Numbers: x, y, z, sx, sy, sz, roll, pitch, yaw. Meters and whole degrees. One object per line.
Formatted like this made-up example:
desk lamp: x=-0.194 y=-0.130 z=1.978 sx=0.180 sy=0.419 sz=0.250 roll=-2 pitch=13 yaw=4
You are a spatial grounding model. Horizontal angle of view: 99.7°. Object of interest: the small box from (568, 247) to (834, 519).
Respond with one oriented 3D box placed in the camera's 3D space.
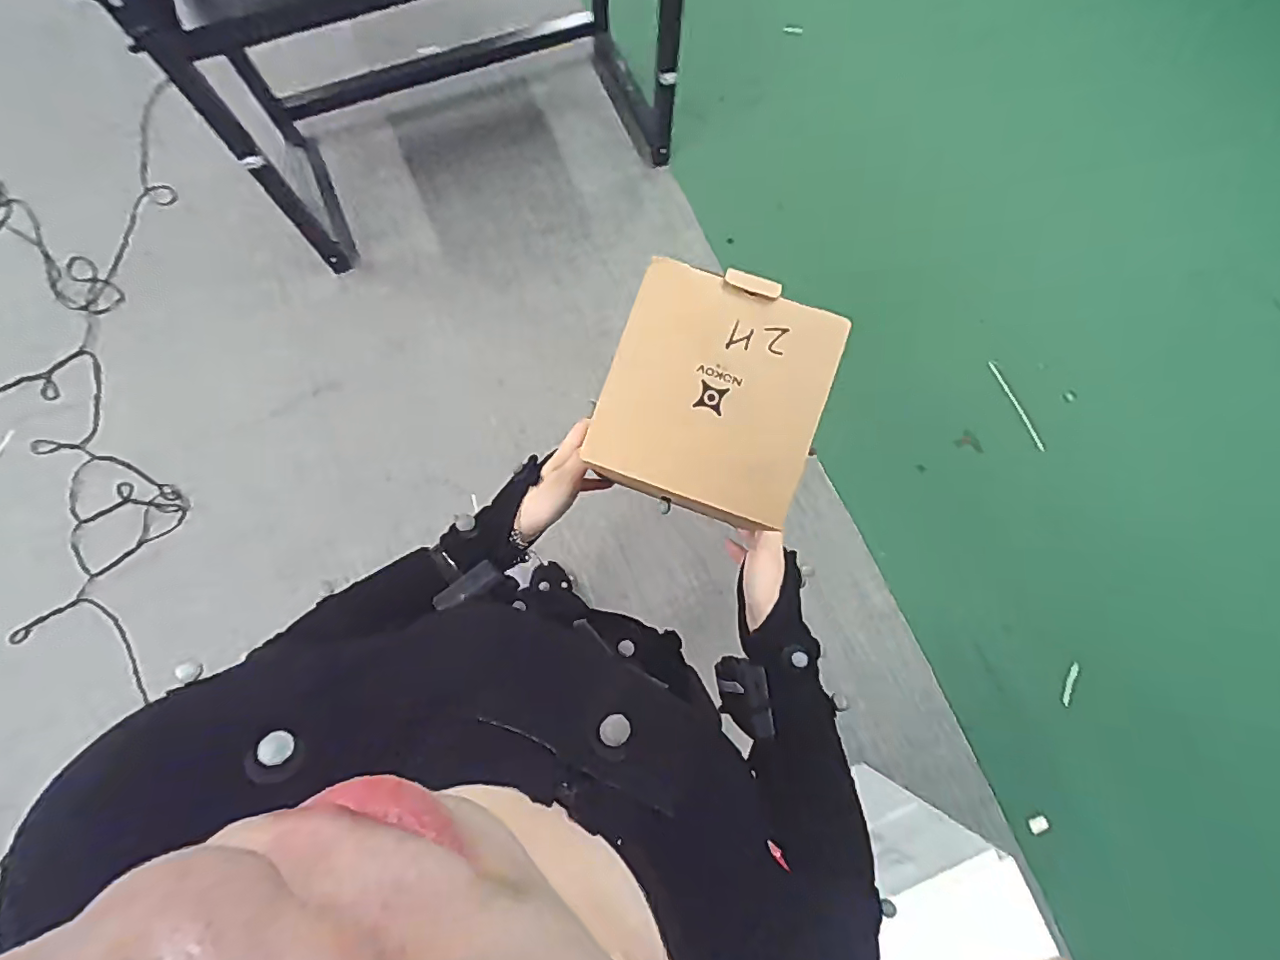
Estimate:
small box: x=0.049 y=-0.071 z=0.498 sx=0.168 sy=0.176 sz=0.179 roll=19 pitch=86 yaw=1
